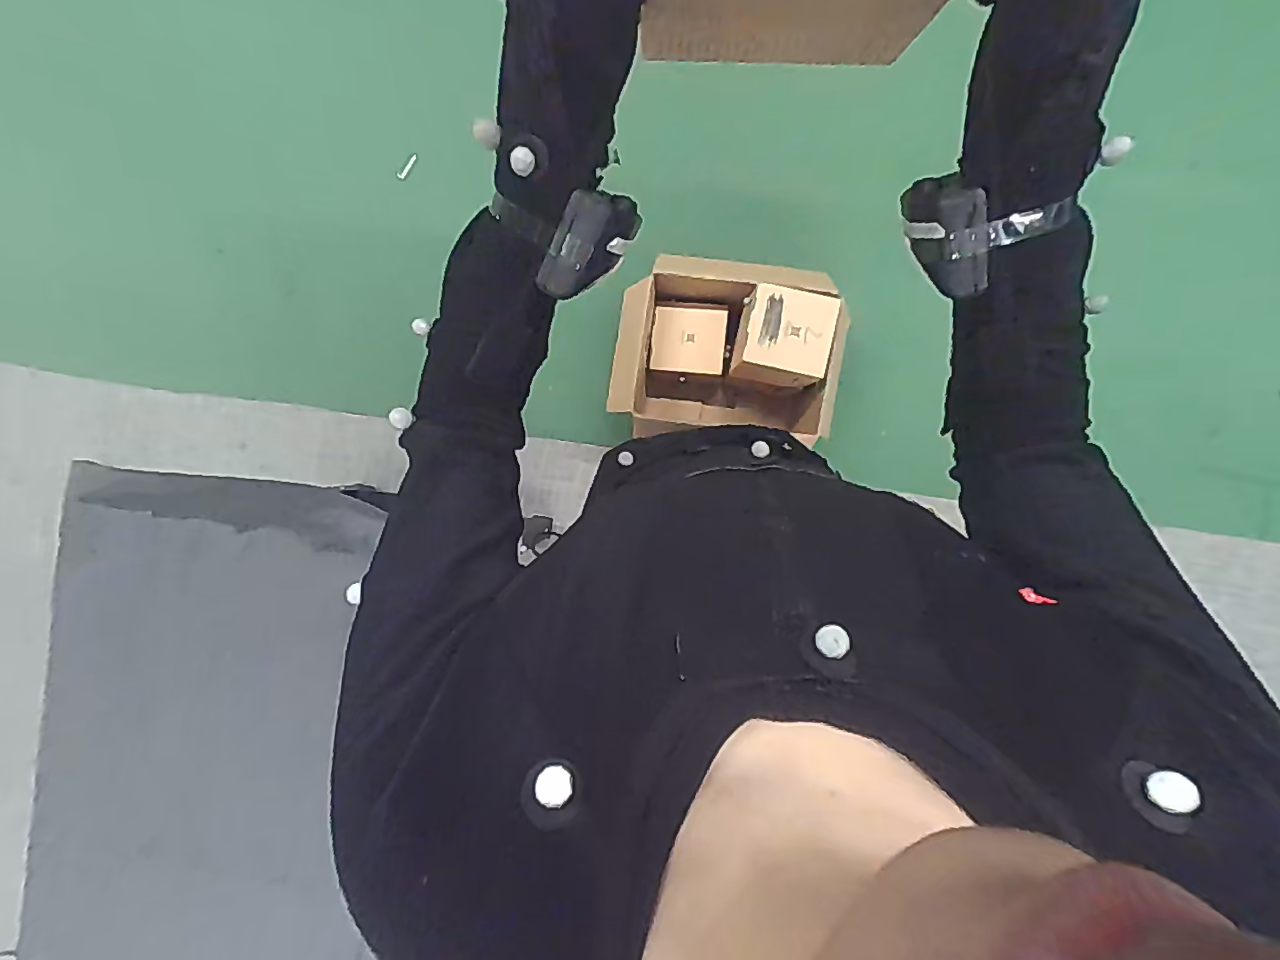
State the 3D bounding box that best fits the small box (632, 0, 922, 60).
[{"bbox_3d":[0.082,-0.345,0.273,0.179,0.176,0.168,2,107,1],"label":"small box"}]
